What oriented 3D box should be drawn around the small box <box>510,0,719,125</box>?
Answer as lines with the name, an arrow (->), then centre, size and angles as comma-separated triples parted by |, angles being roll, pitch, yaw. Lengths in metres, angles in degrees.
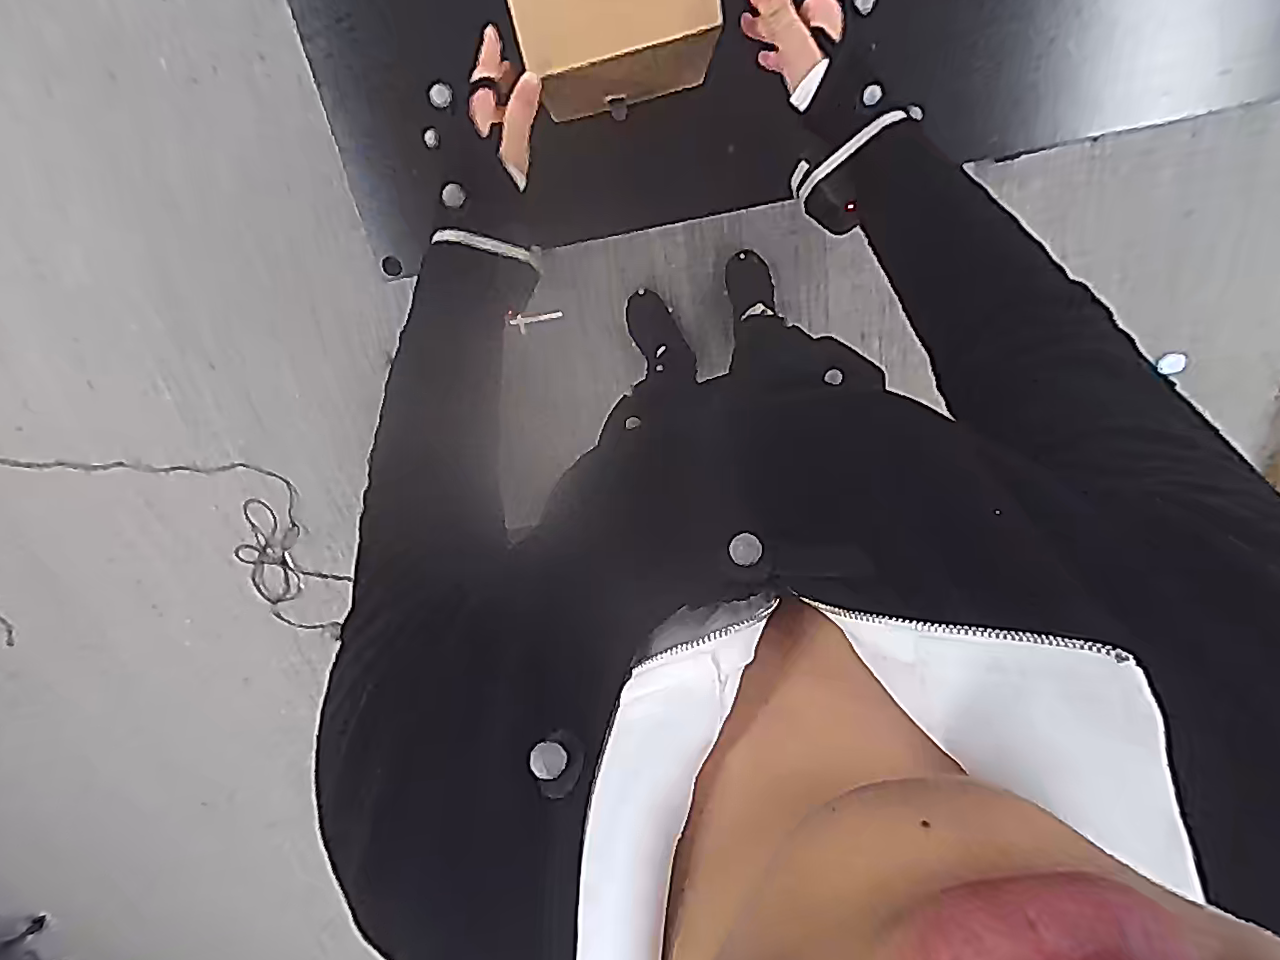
small box -> -0.033, -0.460, 0.493 | 0.168, 0.176, 0.179 | -13, 112, 6

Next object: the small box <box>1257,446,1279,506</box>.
small box -> 1.865, -0.004, 1.471 | 0.179, 0.176, 0.168 | -12, 112, 5
